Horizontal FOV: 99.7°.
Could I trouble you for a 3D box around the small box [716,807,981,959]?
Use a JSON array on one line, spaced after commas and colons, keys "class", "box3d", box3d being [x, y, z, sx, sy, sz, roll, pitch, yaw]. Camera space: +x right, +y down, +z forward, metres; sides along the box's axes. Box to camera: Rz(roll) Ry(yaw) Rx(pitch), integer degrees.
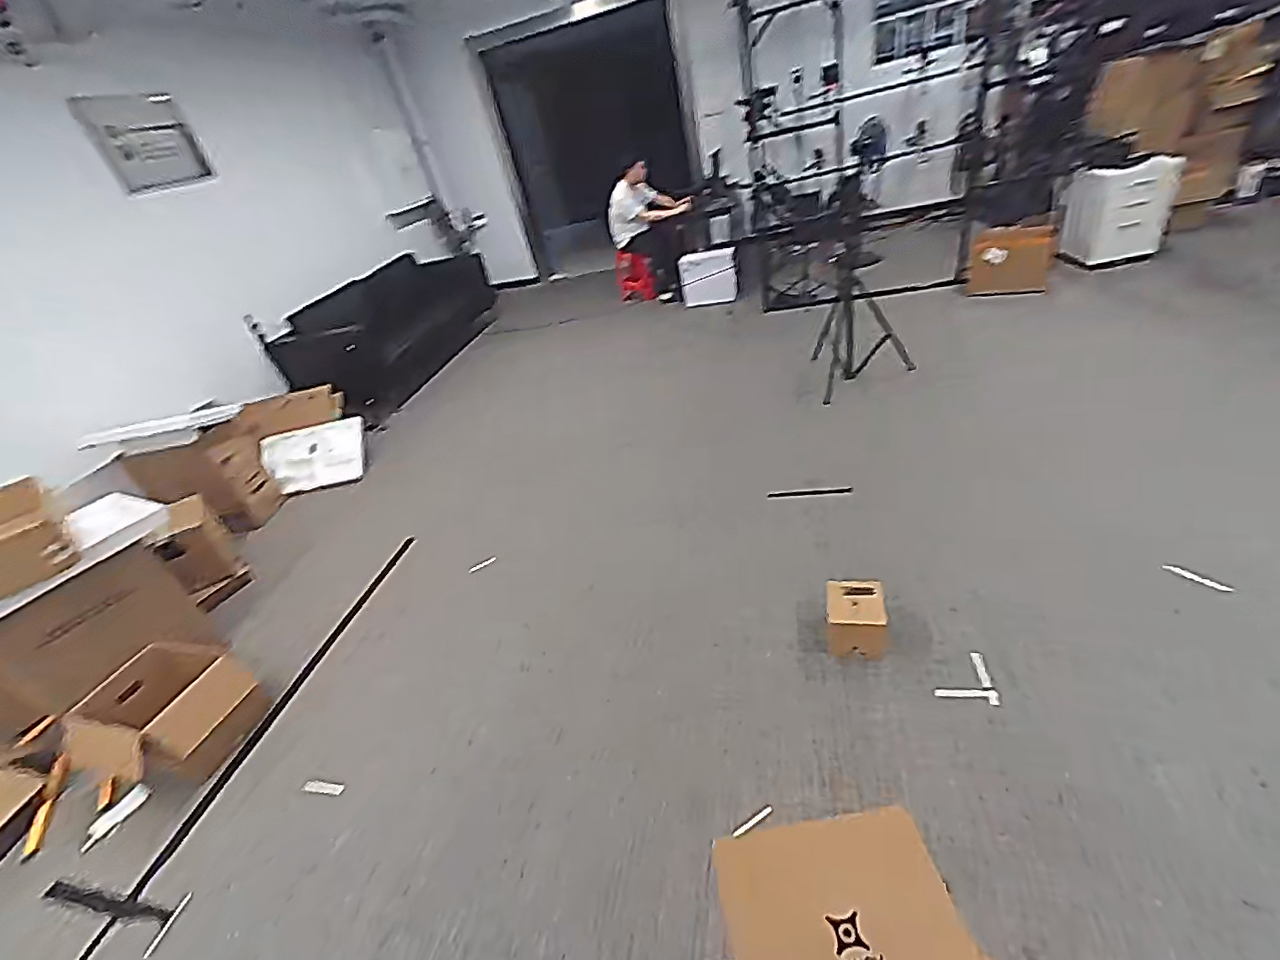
[{"class": "small box", "box3d": [0.158, 0.395, 0.414, 0.168, 0.176, 0.179, -10, 28, 1]}]
